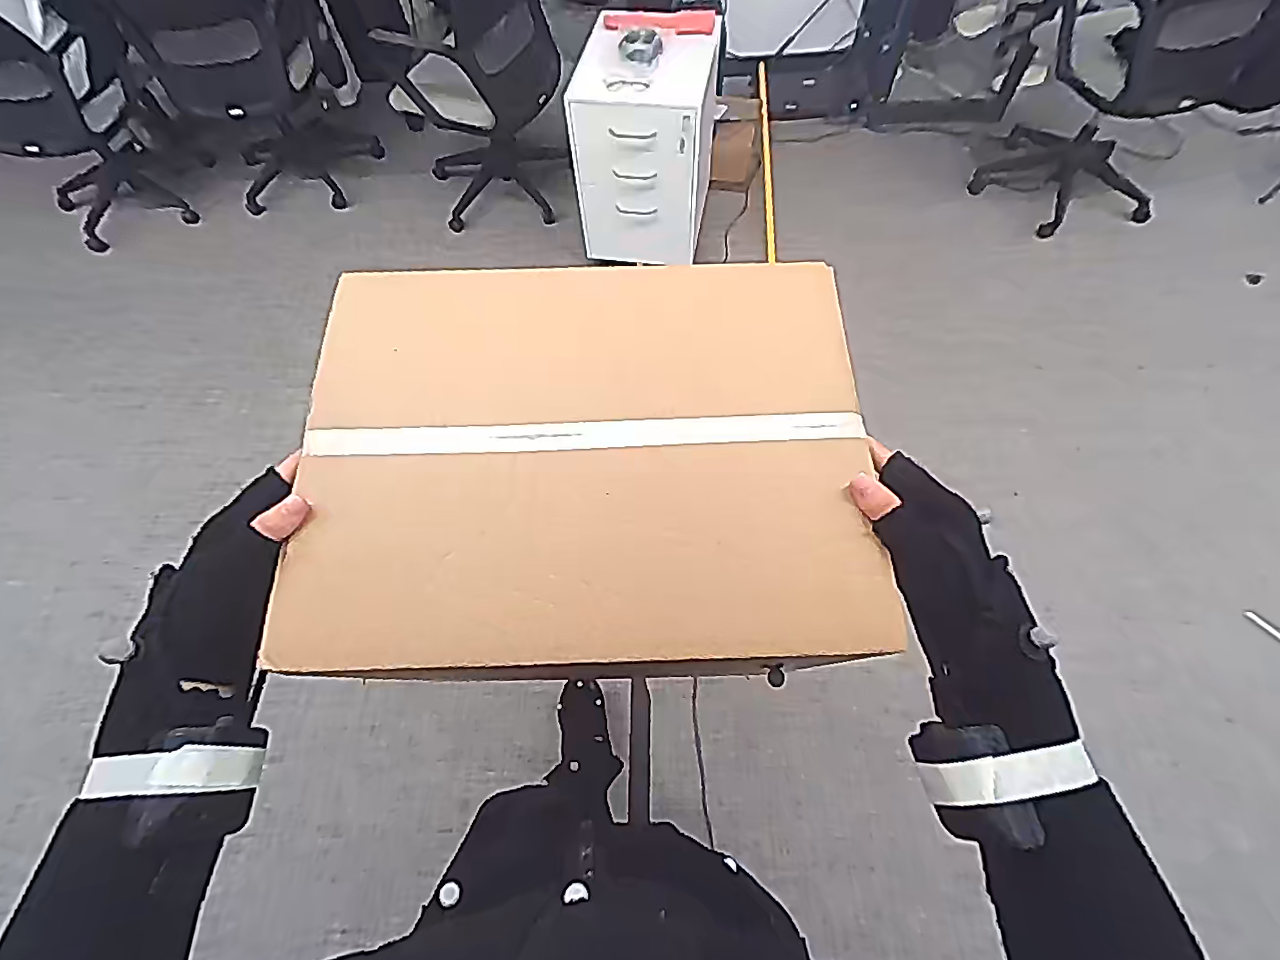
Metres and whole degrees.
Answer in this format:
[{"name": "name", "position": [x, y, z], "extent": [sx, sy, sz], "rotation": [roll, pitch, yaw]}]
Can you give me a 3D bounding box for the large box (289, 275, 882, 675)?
[{"name": "large box", "position": [-0.038, 0.027, 0.548], "extent": [0.408, 0.320, 0.320], "rotation": [-2, 68, 0]}]
